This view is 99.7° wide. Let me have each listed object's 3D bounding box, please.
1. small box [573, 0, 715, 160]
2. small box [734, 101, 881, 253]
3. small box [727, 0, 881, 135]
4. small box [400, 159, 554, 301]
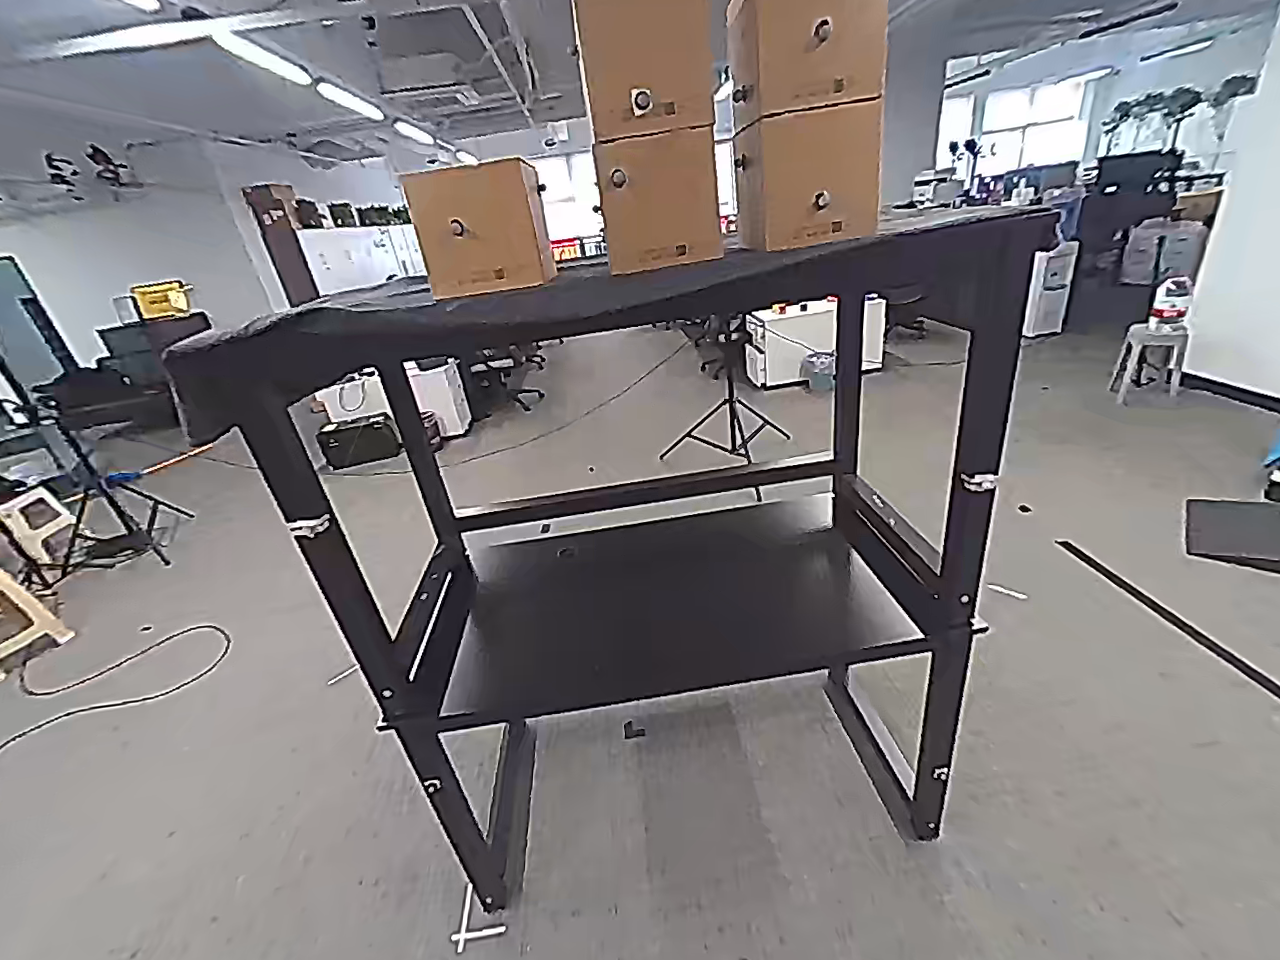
[{"bbox_3d":[0.003,-0.561,0.758,0.168,0.176,0.179,-10,25,-1],"label":"small box"},{"bbox_3d":[0.242,-0.445,0.817,0.168,0.176,0.179,-10,26,1],"label":"small box"},{"bbox_3d":[0.220,-0.592,0.747,0.168,0.176,0.179,-8,26,1],"label":"small box"},{"bbox_3d":[-0.234,-0.377,0.831,0.168,0.176,0.179,-8,25,2],"label":"small box"}]
